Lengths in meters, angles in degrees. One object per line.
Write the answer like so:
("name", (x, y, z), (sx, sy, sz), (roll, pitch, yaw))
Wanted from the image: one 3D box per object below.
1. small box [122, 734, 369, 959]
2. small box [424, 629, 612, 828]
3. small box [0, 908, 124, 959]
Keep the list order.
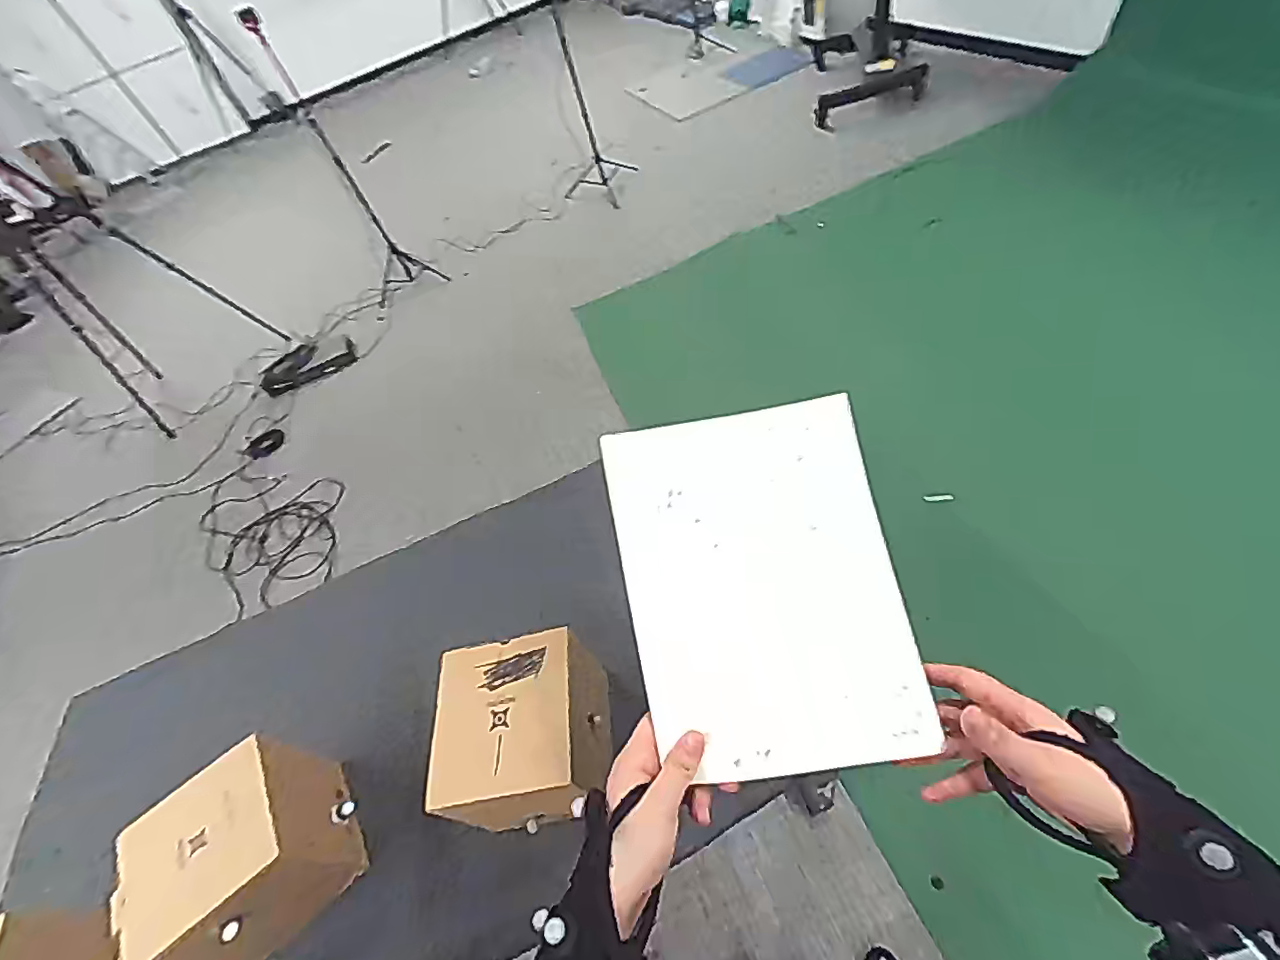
("small box", (-0.481, 0.462, 0.673), (0.179, 0.176, 0.168), (-37, 52, -15))
("small box", (-0.139, 0.314, 0.677), (0.168, 0.176, 0.179), (-14, 50, 7))
("small box", (-0.726, 0.630, 0.612), (0.168, 0.176, 0.179), (-29, 50, -7))
